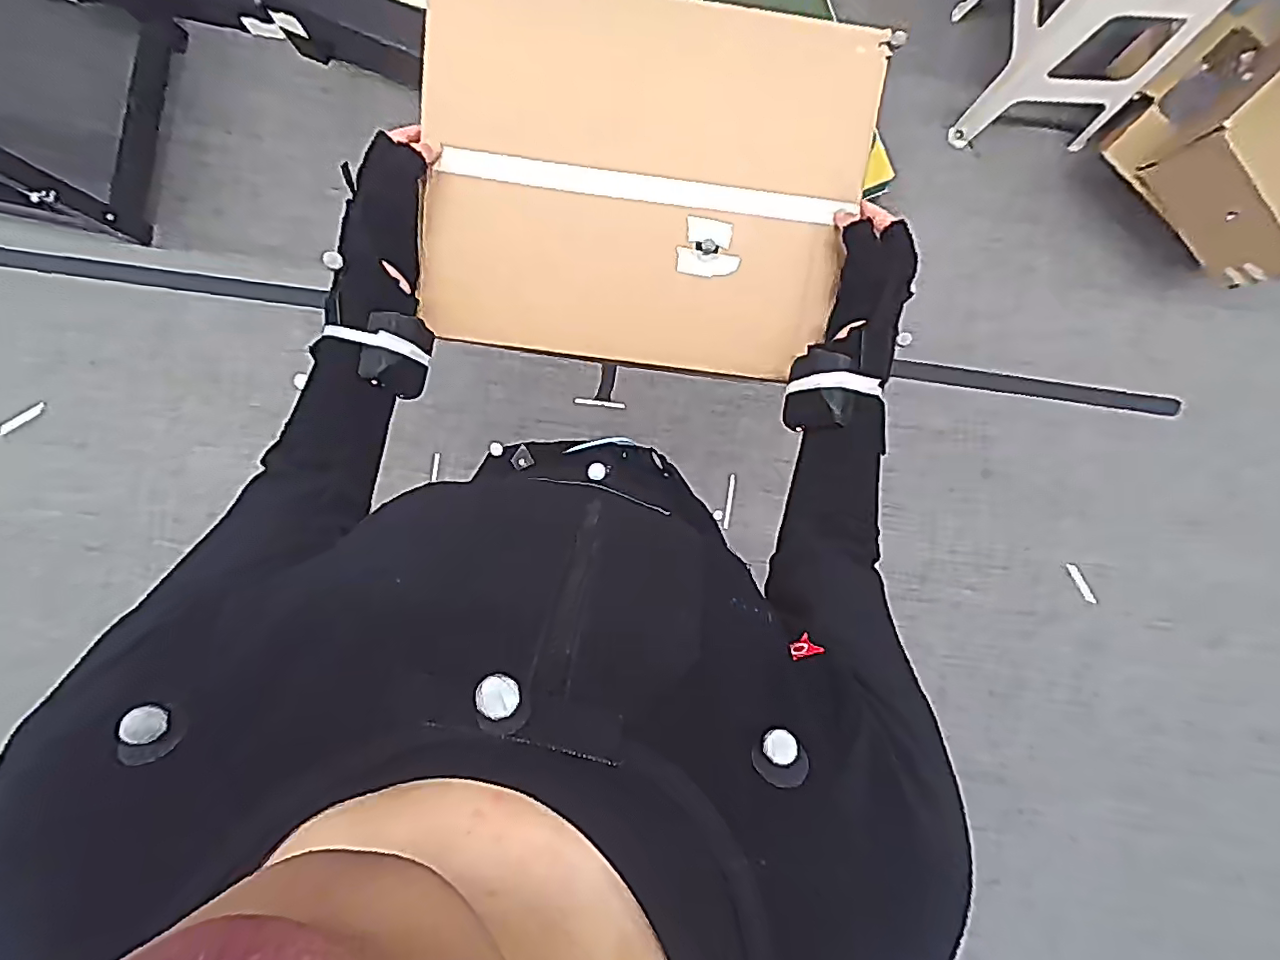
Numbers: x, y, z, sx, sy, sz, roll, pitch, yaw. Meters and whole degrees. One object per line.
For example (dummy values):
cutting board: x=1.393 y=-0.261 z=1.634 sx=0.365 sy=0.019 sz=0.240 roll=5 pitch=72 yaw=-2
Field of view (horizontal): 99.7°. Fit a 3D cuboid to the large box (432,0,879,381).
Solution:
large box: x=0.000 y=-0.300 z=0.660 sx=0.408 sy=0.320 sz=0.320 roll=7 pitch=102 yaw=-3
